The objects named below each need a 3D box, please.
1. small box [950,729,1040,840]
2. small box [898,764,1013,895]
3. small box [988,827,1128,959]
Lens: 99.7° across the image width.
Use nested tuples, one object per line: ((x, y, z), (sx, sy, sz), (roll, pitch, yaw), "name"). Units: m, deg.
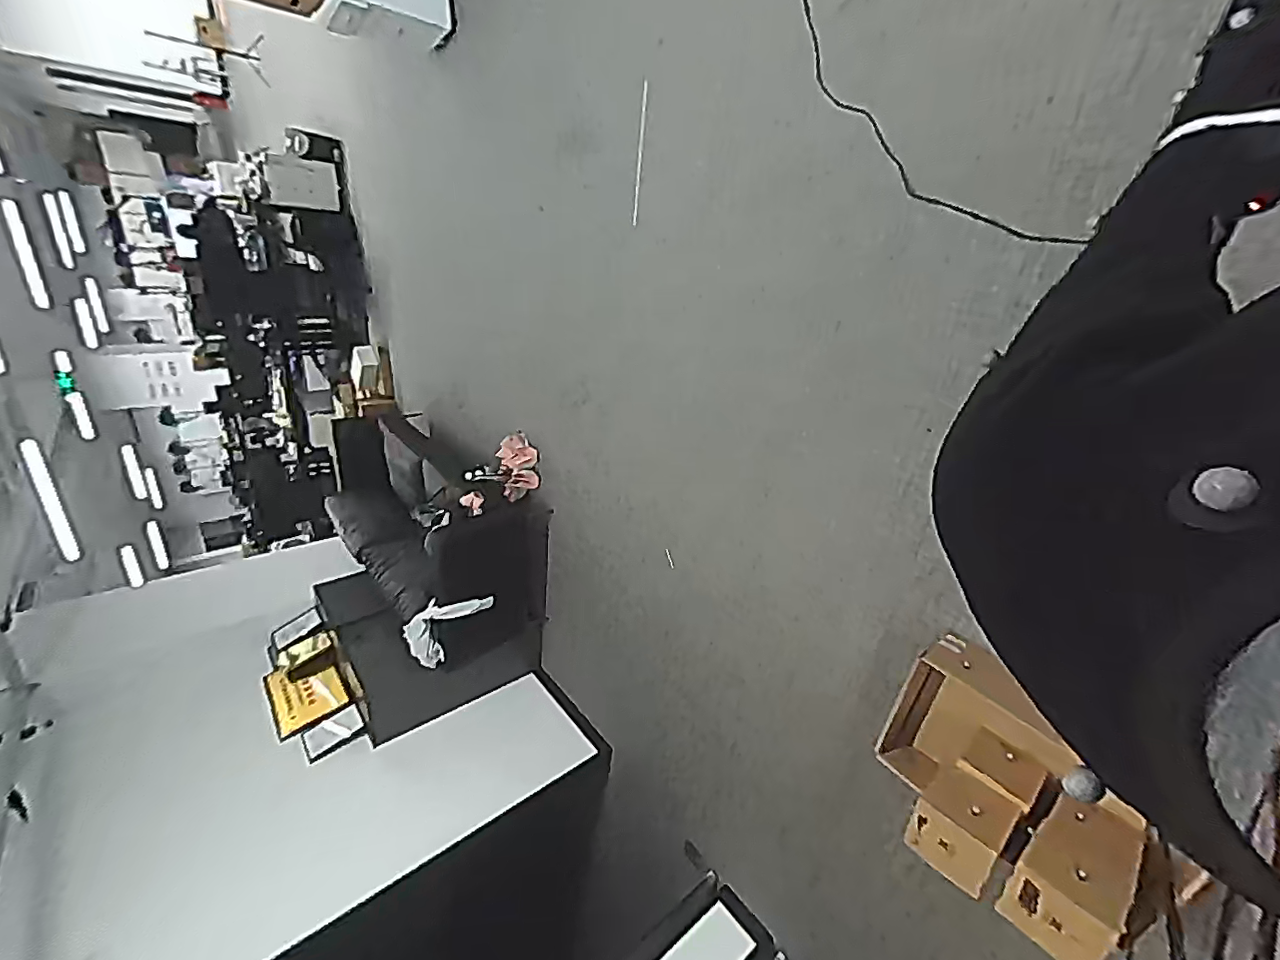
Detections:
((0.904, 0.797, 1.410), (0.168, 0.176, 0.179), (32, 124, 40), "small box")
((0.772, 0.841, 1.321), (0.179, 0.176, 0.168), (27, 121, 42), "small box")
((0.904, 0.897, 1.172), (0.179, 0.176, 0.168), (29, 121, 44), "small box")
